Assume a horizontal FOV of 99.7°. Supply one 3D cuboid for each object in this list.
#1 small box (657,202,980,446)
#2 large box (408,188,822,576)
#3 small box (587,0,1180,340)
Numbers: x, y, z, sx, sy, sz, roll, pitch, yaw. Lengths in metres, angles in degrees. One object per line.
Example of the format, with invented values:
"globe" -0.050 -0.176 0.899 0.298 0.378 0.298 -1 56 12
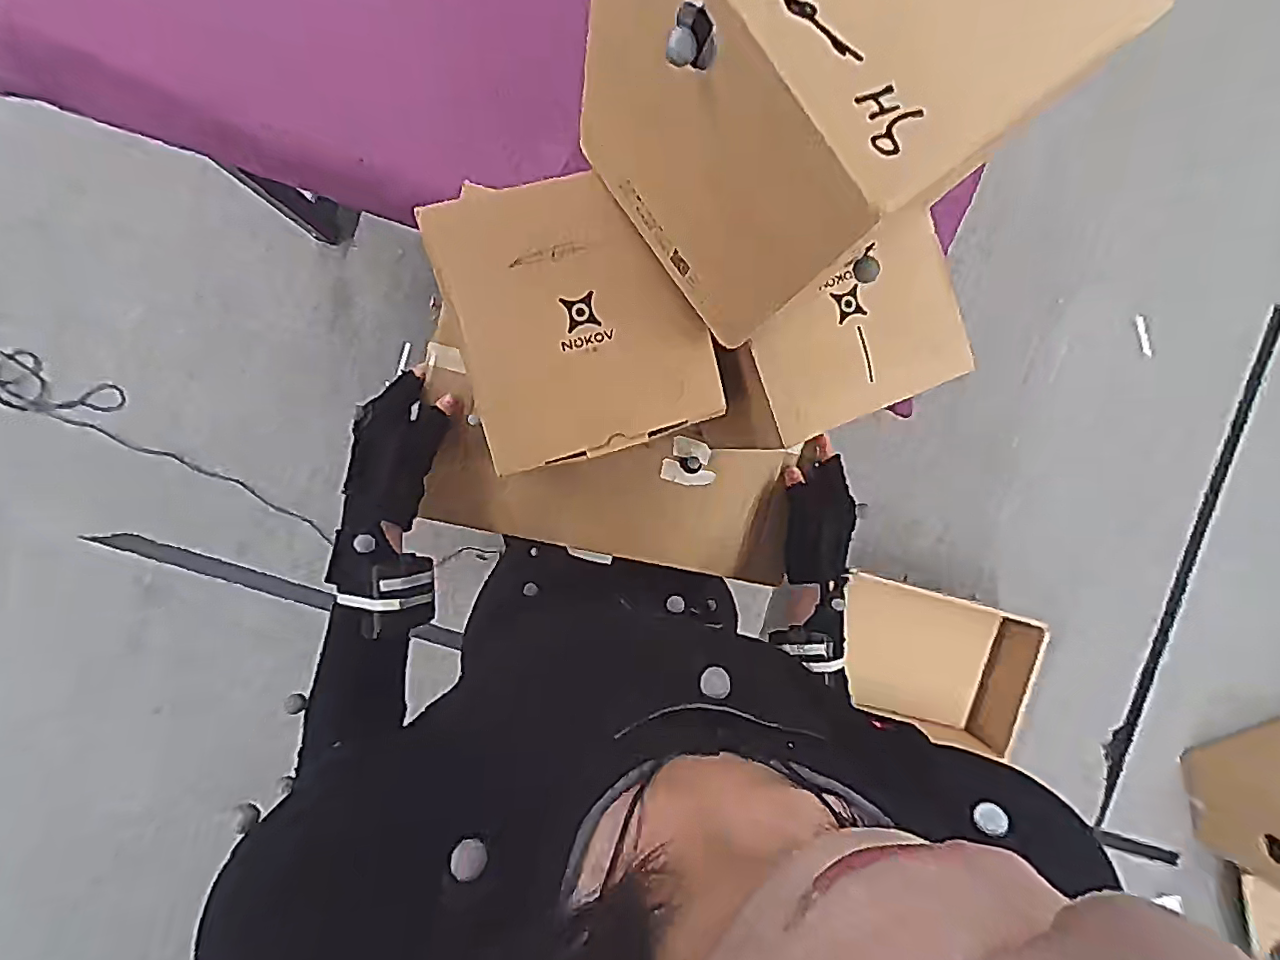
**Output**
"small box" 0.128 -0.134 0.448 0.168 0.176 0.179 -22 97 -9
"large box" -0.027 -0.099 0.680 0.408 0.320 0.320 12 97 -12
"small box" 0.089 -0.202 0.272 0.179 0.176 0.168 -37 92 -10
